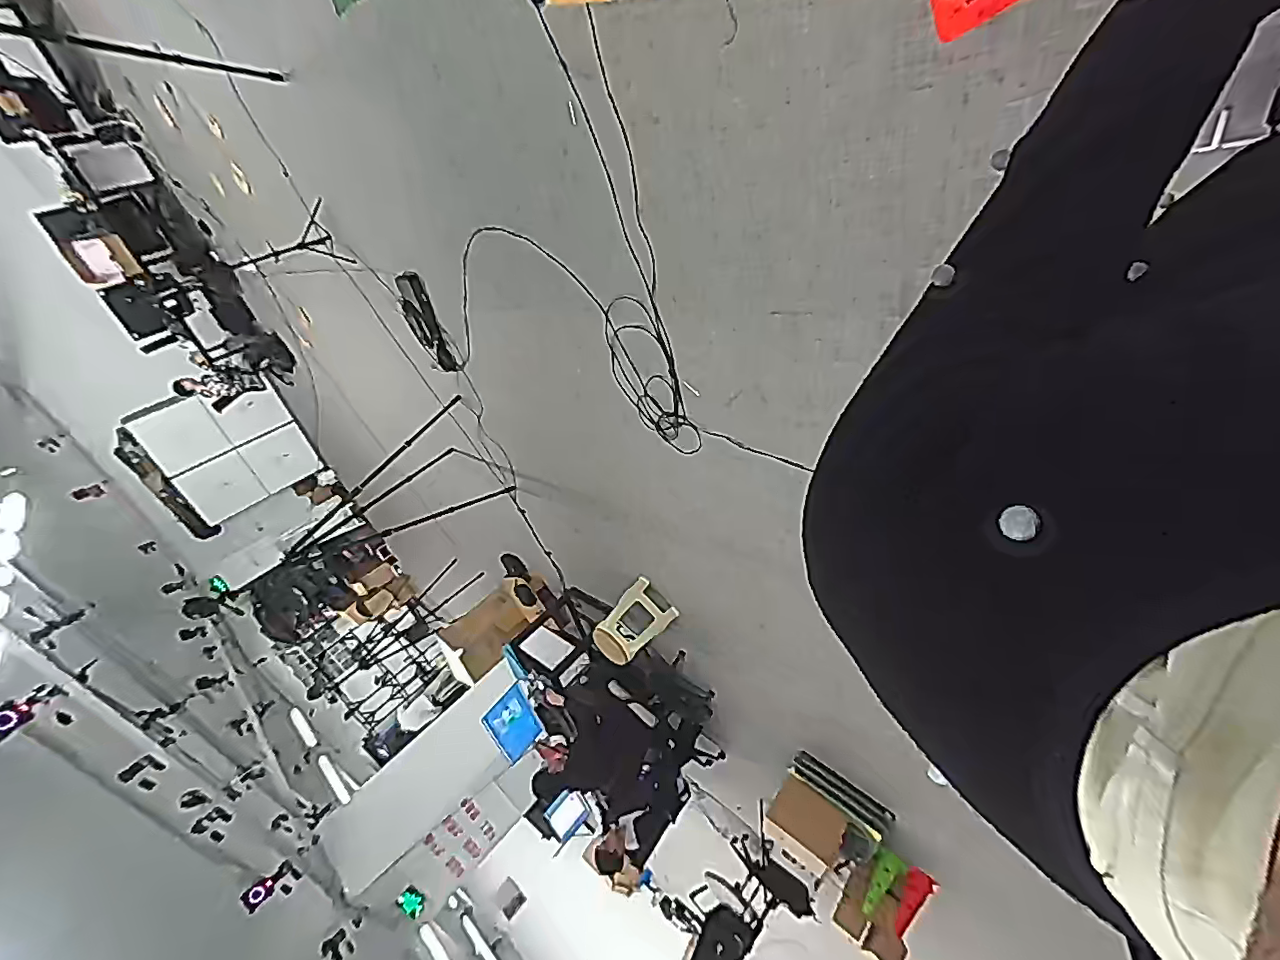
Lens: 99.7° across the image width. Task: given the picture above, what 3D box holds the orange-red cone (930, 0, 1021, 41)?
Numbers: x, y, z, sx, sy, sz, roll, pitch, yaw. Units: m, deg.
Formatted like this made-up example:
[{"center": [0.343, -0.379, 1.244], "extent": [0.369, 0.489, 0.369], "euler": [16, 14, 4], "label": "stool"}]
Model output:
[{"center": [0.564, -0.940, 0.987], "extent": [0.199, 0.360, 0.198], "euler": [2, 124, 52], "label": "orange-red cone"}]
